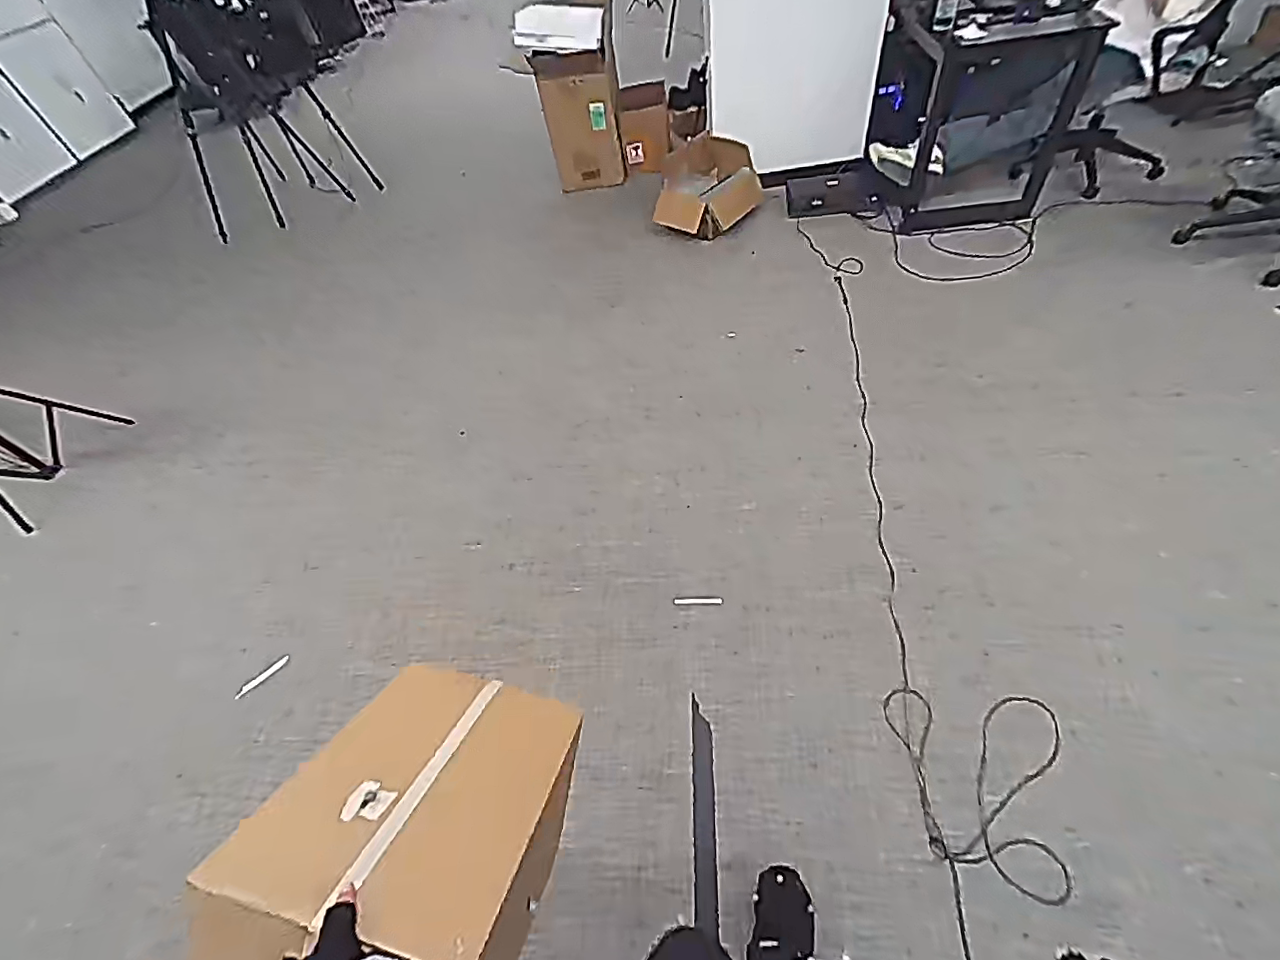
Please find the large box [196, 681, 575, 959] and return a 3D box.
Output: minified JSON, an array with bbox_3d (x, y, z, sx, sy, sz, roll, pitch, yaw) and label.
[{"bbox_3d":[-0.310,0.564,0.766,0.320,0.320,0.408,11,14,7],"label":"large box"}]
